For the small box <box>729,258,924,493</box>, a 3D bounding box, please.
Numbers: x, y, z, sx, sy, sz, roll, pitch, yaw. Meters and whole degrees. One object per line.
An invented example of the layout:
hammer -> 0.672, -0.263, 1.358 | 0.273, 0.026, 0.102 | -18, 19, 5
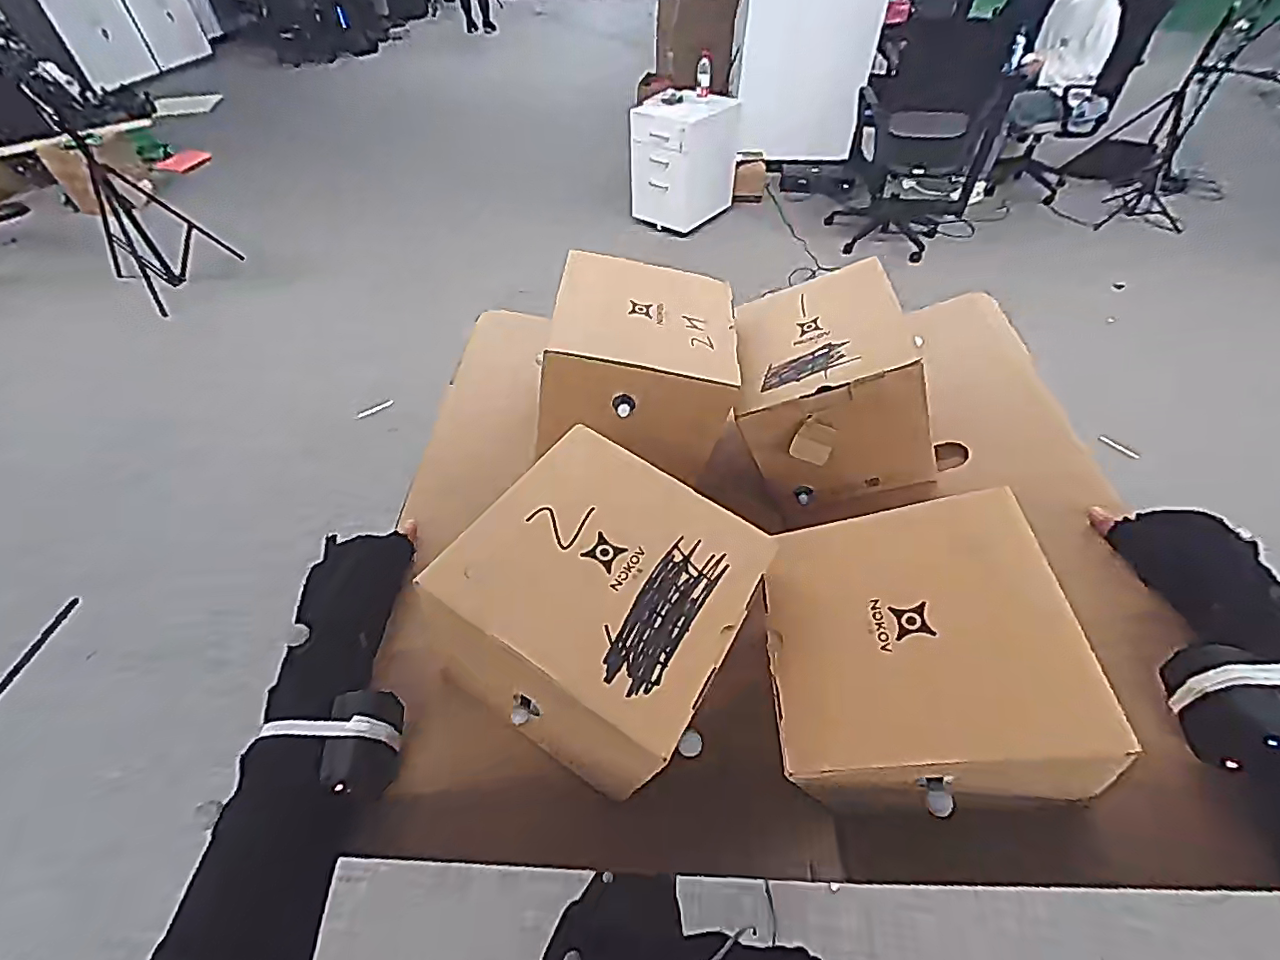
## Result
small box -> 0.202, -0.102, 0.596 | 0.168, 0.176, 0.179 | -13, 46, 22

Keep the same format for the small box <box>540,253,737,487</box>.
small box -> -0.008, -0.110, 0.582 | 0.179, 0.176, 0.168 | 10, 51, -7
